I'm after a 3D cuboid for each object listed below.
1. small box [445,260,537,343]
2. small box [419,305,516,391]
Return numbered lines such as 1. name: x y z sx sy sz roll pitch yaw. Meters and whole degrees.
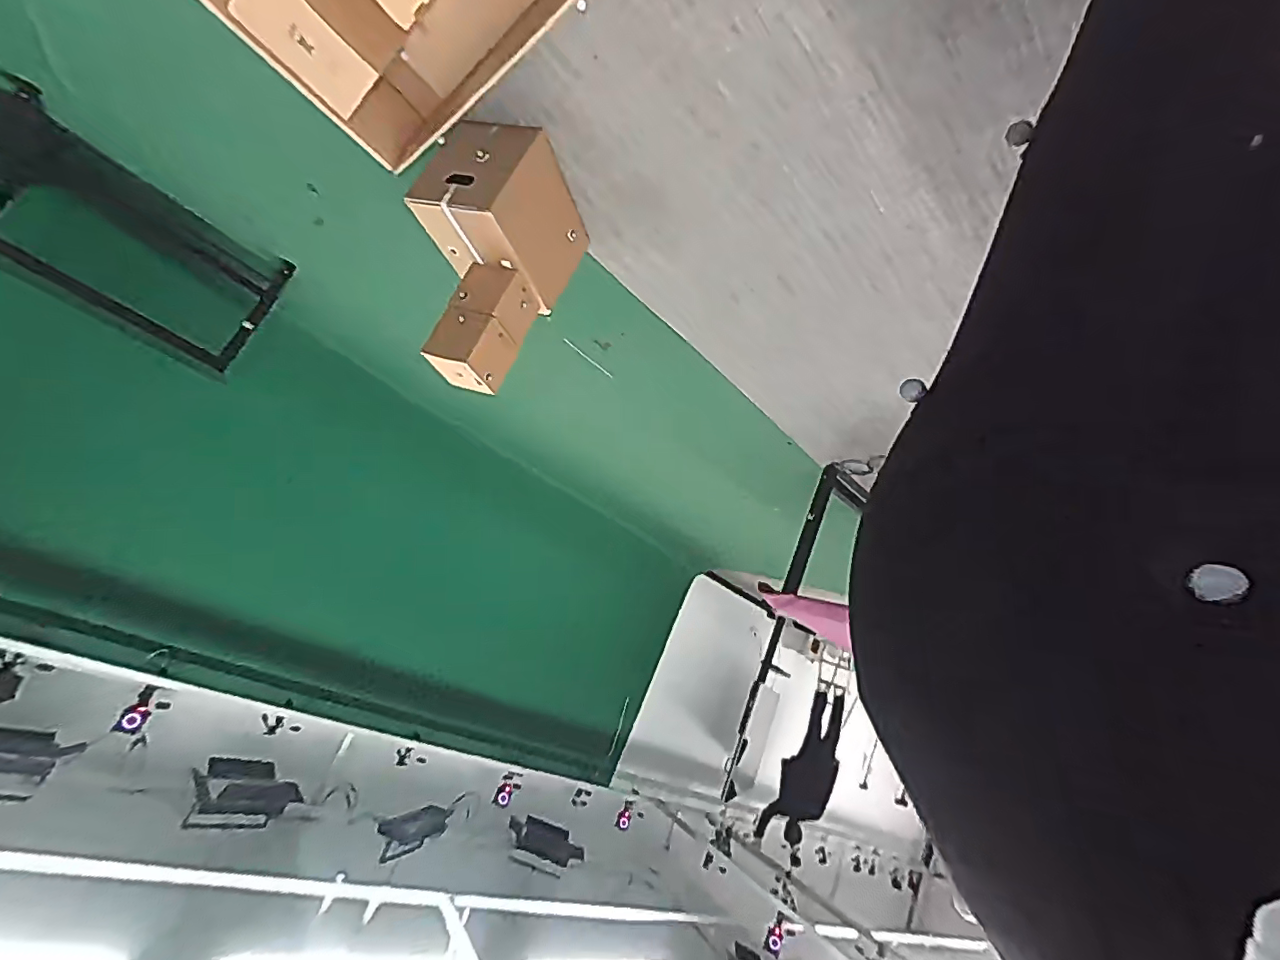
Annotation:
1. small box: -0.444 -0.537 1.631 0.179 0.176 0.168 17 163 21
2. small box: -0.498 -0.389 1.582 0.179 0.176 0.168 17 163 21
